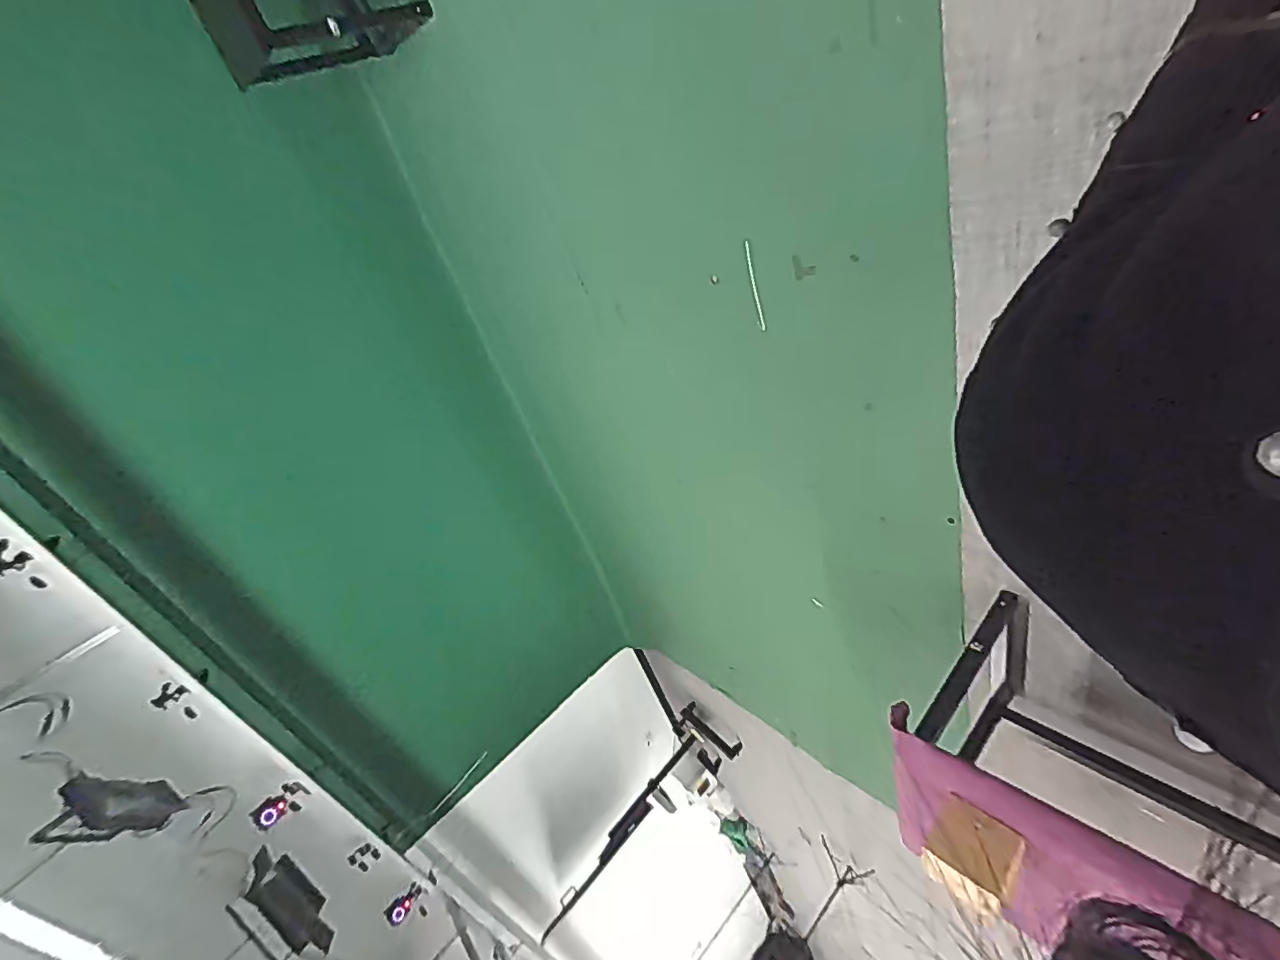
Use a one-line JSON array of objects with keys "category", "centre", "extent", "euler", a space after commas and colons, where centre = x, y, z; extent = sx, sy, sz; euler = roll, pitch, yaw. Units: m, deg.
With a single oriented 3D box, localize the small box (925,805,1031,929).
[{"category": "small box", "centre": [0.852, 0.965, 1.370], "extent": [0.179, 0.176, 0.168], "euler": [20, 141, 48]}]
